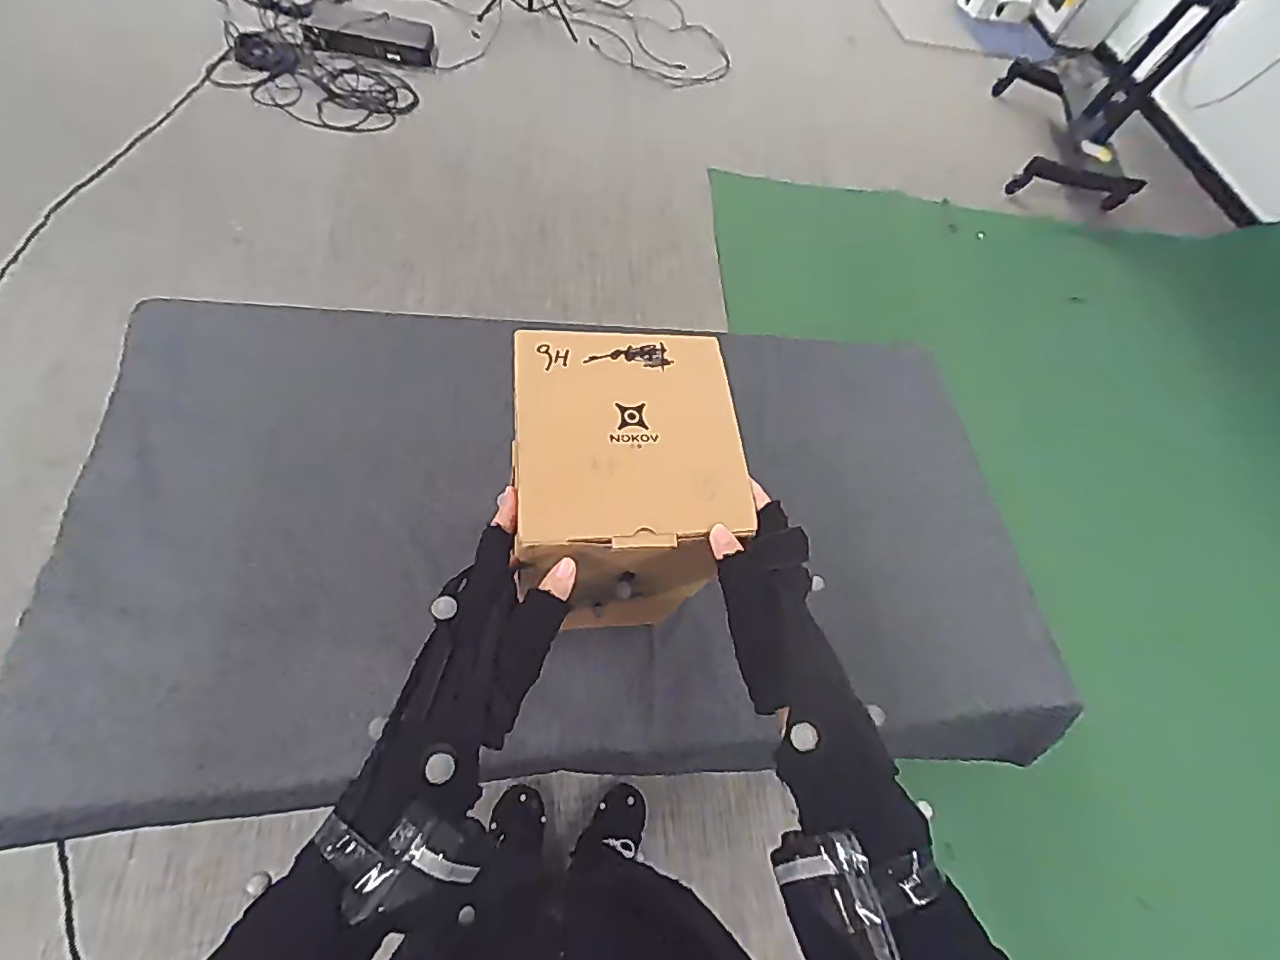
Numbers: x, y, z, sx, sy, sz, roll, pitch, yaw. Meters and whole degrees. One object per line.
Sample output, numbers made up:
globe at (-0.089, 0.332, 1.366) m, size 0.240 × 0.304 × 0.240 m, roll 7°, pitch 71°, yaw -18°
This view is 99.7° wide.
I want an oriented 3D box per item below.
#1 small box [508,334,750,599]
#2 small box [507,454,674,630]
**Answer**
small box at (-0.025, 0.001, 0.461) m, size 0.168 × 0.176 × 0.179 m, roll -1°, pitch 66°, yaw -13°
small box at (-0.057, 0.067, 0.607) m, size 0.179 × 0.176 × 0.168 m, roll 0°, pitch 64°, yaw -13°
